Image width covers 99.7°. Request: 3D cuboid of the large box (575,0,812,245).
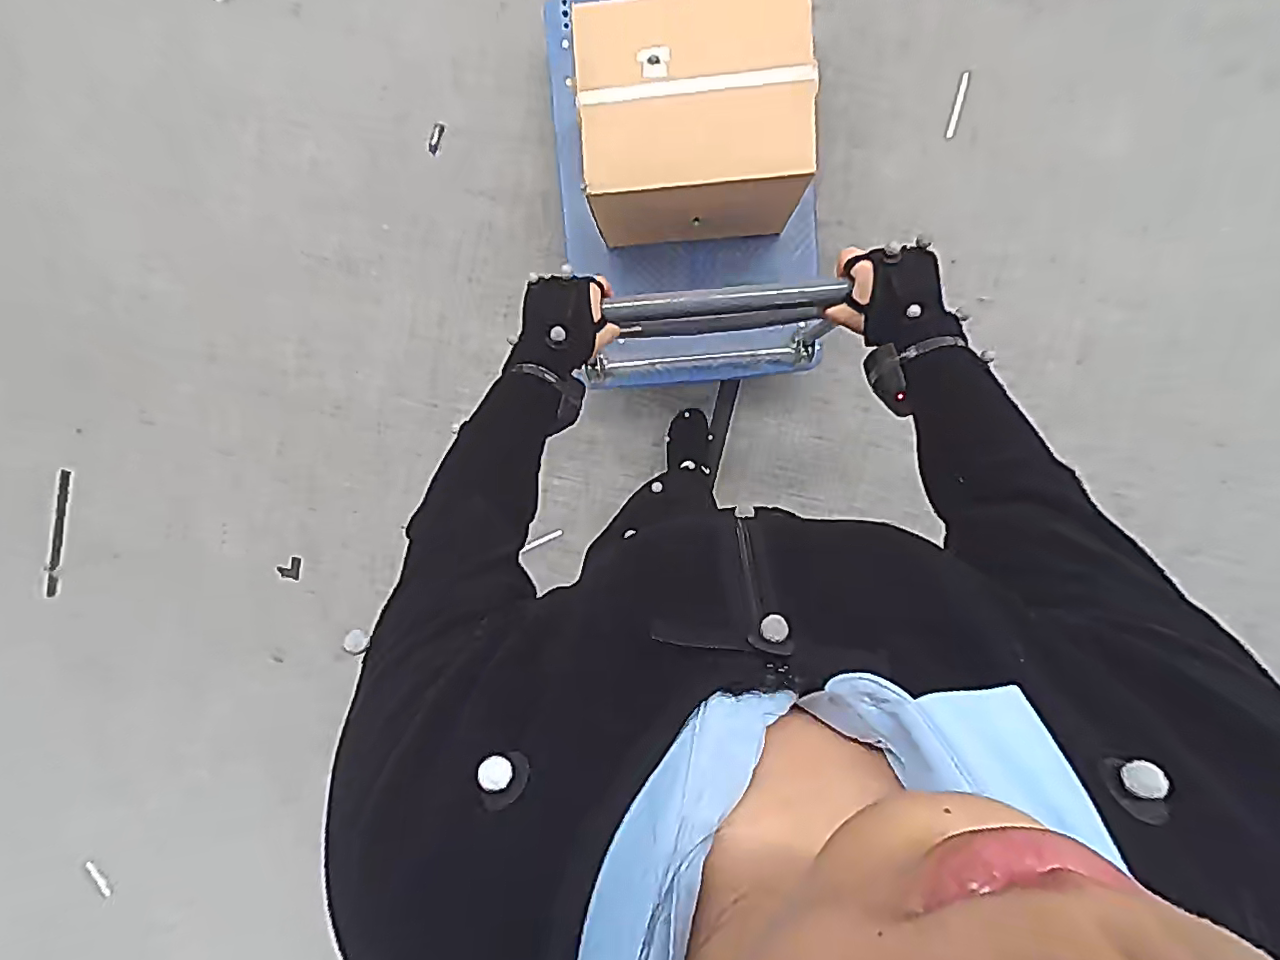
[{"bbox_3d":[0.107,-0.696,1.095,0.408,0.320,0.320,-4,95,5],"label":"large box"}]
